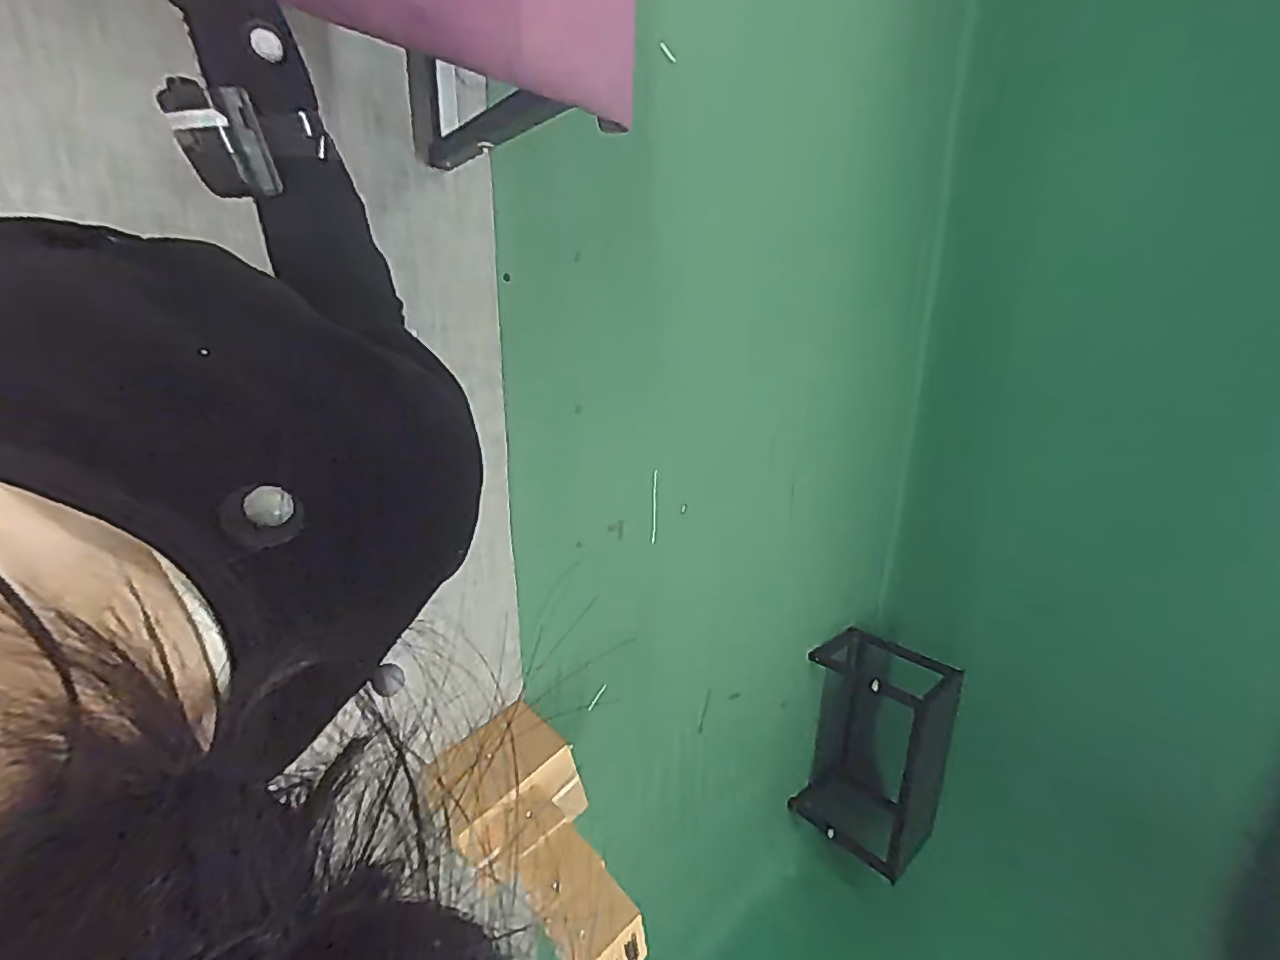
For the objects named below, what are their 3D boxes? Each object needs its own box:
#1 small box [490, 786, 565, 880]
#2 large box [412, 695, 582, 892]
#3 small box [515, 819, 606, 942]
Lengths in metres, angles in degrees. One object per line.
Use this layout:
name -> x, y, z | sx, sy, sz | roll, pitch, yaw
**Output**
small box -> -0.326, 1.049, 1.602 | 0.168, 0.176, 0.179 | -23, 116, -37
large box -> -0.469, 1.018, 1.804 | 0.408, 0.320, 0.320 | -30, 122, -36
small box -> -0.218, 1.089, 1.488 | 0.179, 0.176, 0.168 | -22, 116, -37
